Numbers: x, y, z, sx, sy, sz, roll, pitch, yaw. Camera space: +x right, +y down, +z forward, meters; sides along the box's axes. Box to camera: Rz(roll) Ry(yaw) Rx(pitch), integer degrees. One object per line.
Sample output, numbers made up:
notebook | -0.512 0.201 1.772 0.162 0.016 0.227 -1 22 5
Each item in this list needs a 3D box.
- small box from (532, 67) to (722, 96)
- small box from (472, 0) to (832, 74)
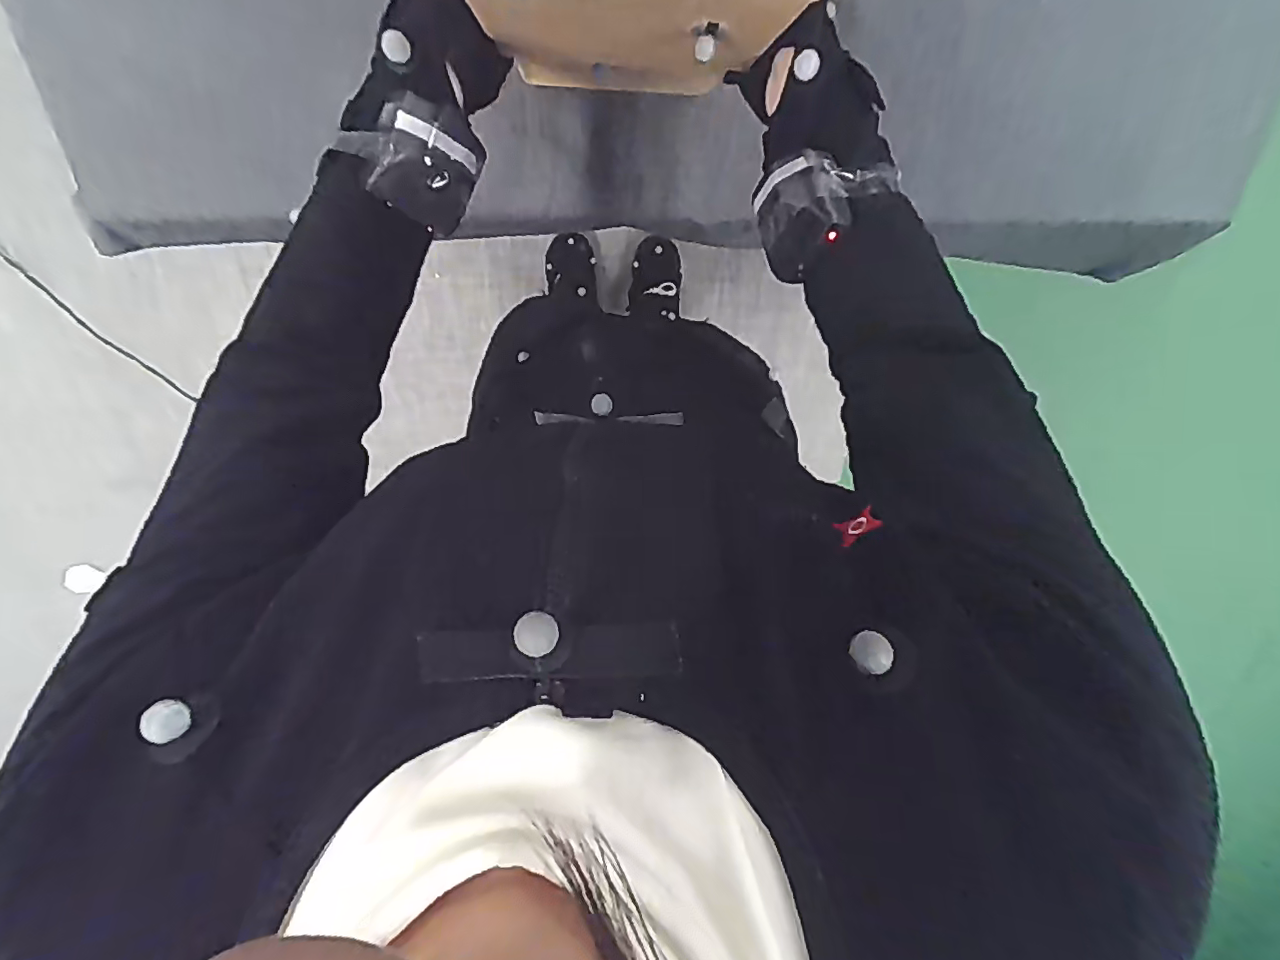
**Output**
small box | -0.011 -0.416 0.420 0.179 0.176 0.168 -3 114 -3
small box | 0.001 -0.321 0.266 0.179 0.176 0.168 -4 115 -3
